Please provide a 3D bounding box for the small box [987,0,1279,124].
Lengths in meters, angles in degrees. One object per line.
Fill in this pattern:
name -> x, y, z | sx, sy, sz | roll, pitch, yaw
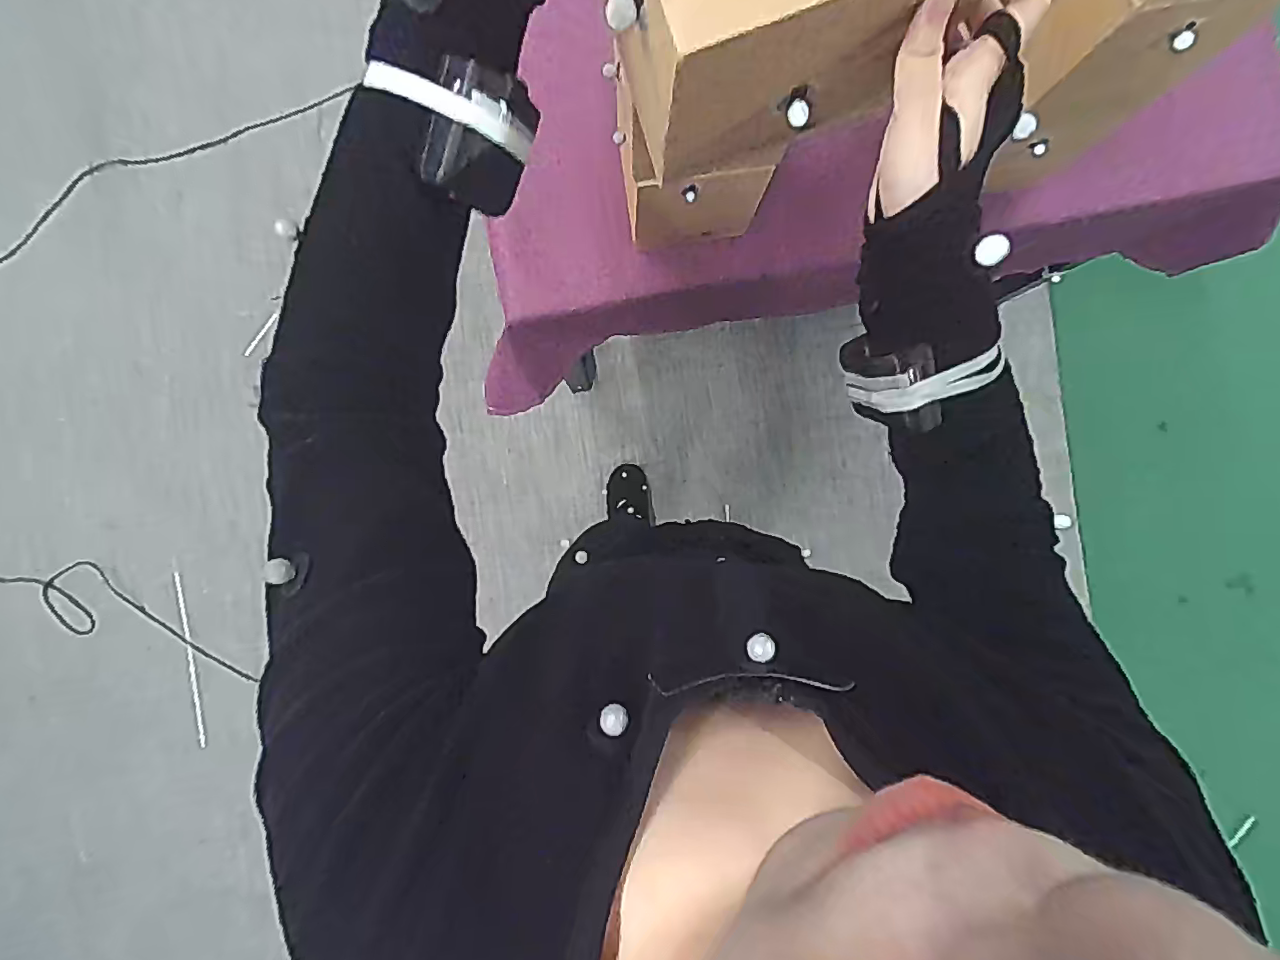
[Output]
small box -> 0.500, -0.504, 0.550 | 0.179, 0.176, 0.168 | -10, 90, 0

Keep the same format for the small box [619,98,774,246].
small box -> 0.063, -0.436, 0.705 | 0.168, 0.176, 0.179 | -8, 89, 0

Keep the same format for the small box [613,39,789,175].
small box -> 0.066, -0.437, 0.541 | 0.179, 0.176, 0.168 | -7, 89, -1

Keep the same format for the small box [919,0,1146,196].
small box -> 0.494, -0.503, 0.712 | 0.179, 0.176, 0.168 | -9, 90, -2

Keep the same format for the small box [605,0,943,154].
small box -> 0.063, -0.304, 0.287 | 0.168, 0.176, 0.179 | -17, 101, 3
